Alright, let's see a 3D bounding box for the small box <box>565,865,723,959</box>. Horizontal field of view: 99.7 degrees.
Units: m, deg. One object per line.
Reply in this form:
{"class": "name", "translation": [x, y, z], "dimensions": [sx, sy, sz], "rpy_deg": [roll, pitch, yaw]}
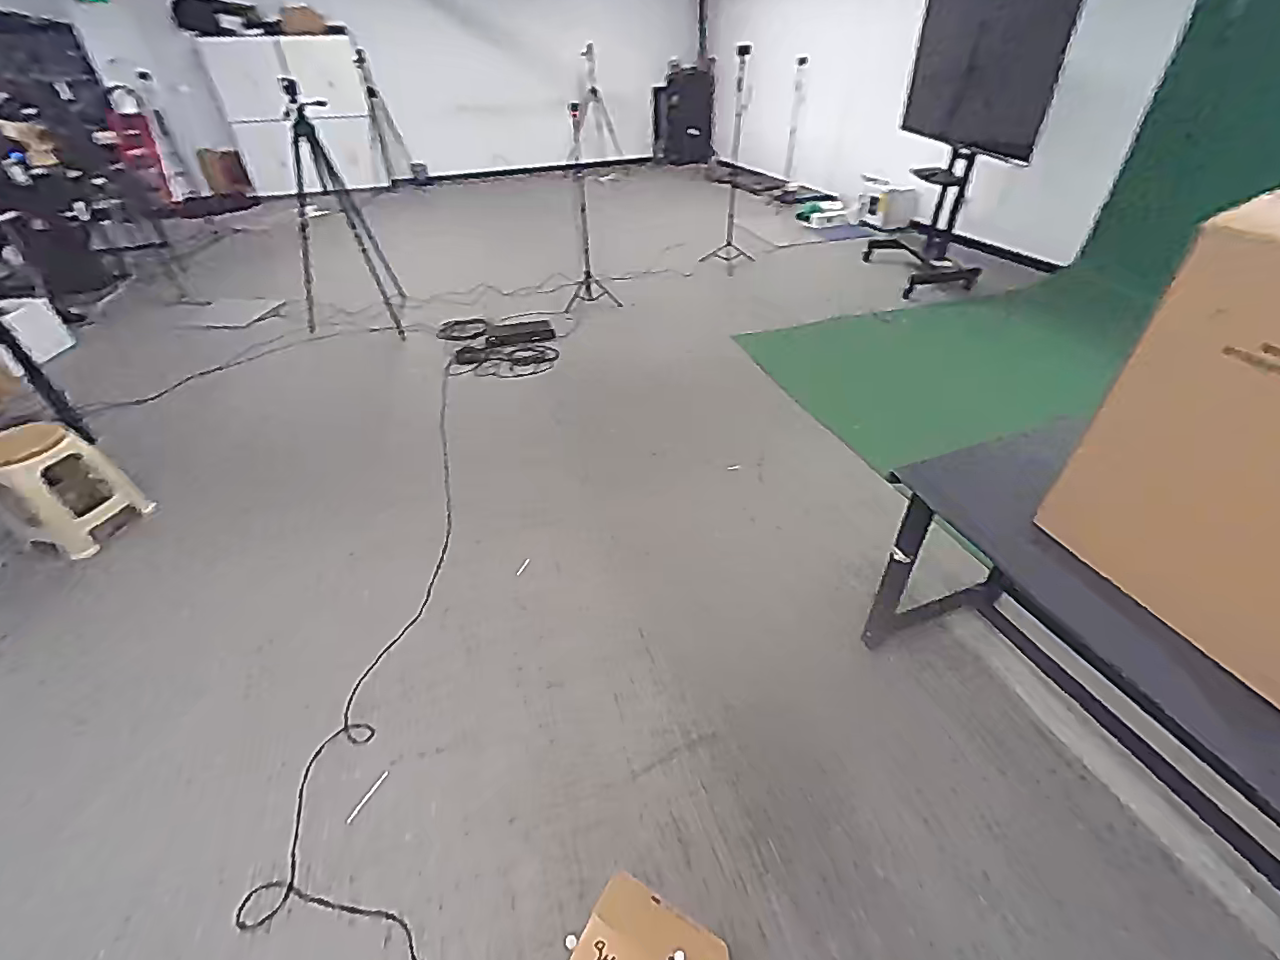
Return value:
{"class": "small box", "translation": [-0.010, 0.593, 0.615], "dimensions": [0.168, 0.176, 0.179], "rpy_deg": [26, 76, 17]}
